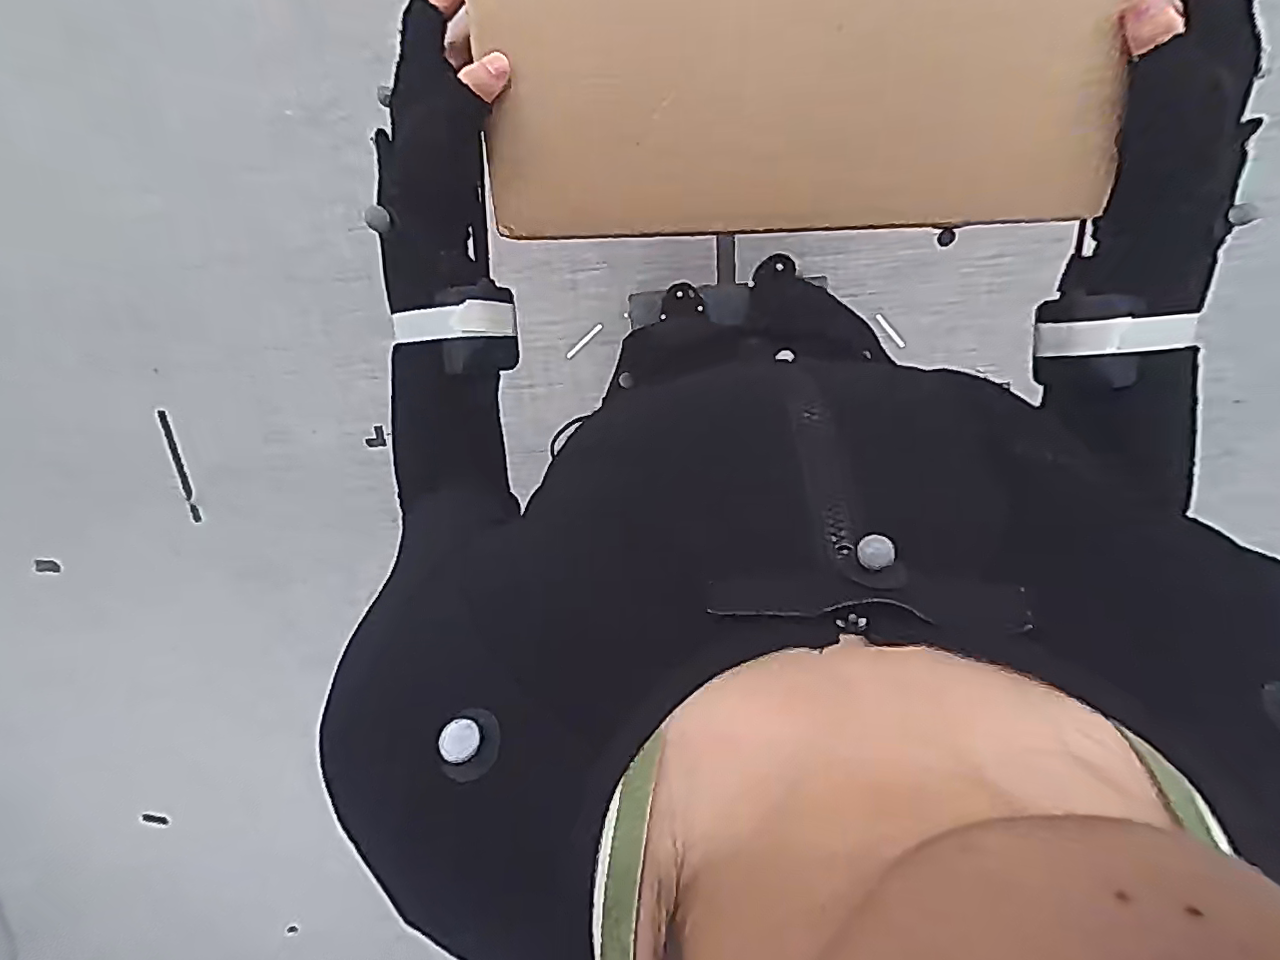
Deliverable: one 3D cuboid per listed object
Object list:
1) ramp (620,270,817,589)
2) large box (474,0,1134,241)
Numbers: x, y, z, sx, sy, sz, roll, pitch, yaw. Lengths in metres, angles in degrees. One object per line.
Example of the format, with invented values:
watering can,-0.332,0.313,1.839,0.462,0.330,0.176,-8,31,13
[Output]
ramp,0.238,-0.072,1.581,0.509,0.206,0.991,-5,110,5
large box,0.102,-0.382,0.446,0.408,0.320,0.320,-1,116,3
